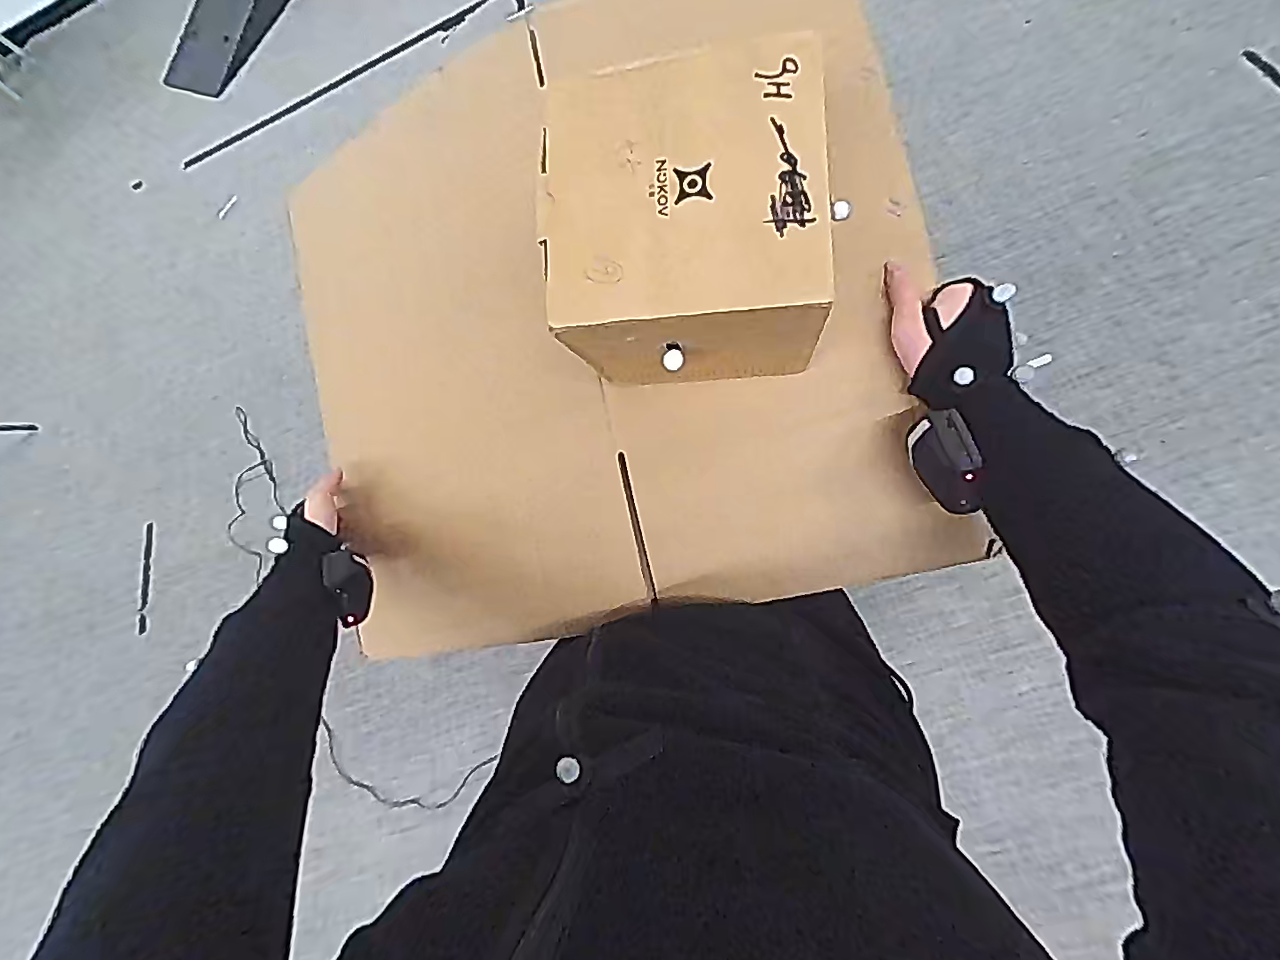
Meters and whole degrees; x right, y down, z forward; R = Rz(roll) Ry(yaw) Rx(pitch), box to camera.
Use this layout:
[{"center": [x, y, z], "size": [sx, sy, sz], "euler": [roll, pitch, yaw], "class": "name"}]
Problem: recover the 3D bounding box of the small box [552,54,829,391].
[{"center": [0.045, -0.170, 0.421], "size": [0.179, 0.176, 0.168], "euler": [-3, 87, 13], "class": "small box"}]
